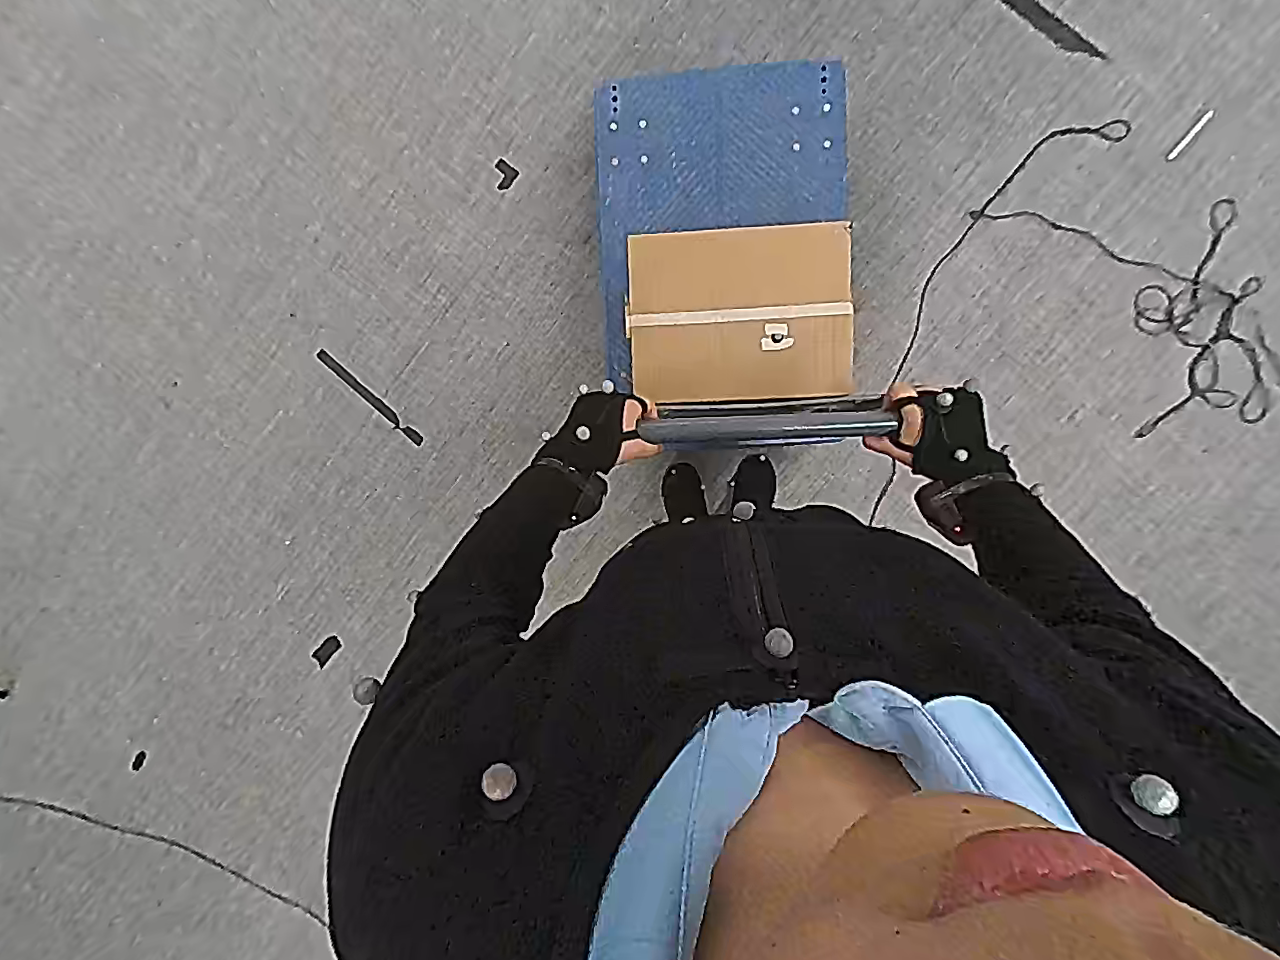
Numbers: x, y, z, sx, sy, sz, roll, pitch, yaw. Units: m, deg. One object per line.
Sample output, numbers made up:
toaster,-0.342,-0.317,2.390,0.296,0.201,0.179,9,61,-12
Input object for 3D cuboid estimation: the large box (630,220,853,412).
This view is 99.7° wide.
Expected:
large box,0.195,-0.317,1.147,0.408,0.320,0.320,-2,95,4
